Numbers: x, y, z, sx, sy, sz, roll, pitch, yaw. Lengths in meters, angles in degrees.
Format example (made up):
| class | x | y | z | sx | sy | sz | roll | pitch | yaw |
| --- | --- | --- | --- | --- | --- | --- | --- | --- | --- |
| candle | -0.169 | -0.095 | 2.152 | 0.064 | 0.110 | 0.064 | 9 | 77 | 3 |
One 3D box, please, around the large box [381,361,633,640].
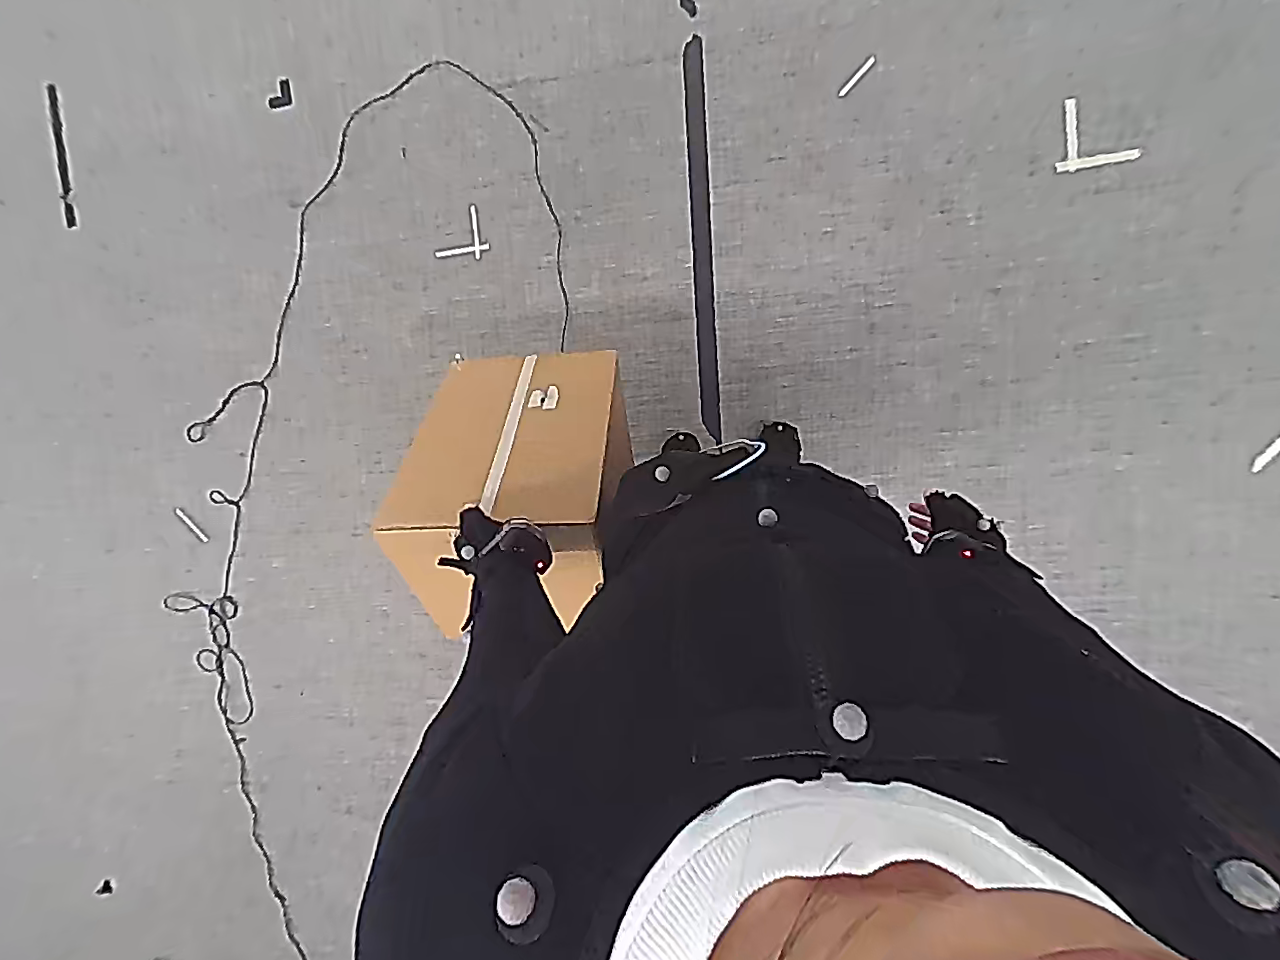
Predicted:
| class | x | y | z | sx | sy | sz | roll | pitch | yaw |
| --- | --- | --- | --- | --- | --- | --- | --- | --- | --- |
| large box | -0.190 | 0.034 | 0.979 | 0.320 | 0.408 | 0.320 | -2 | 135 | 6 |
